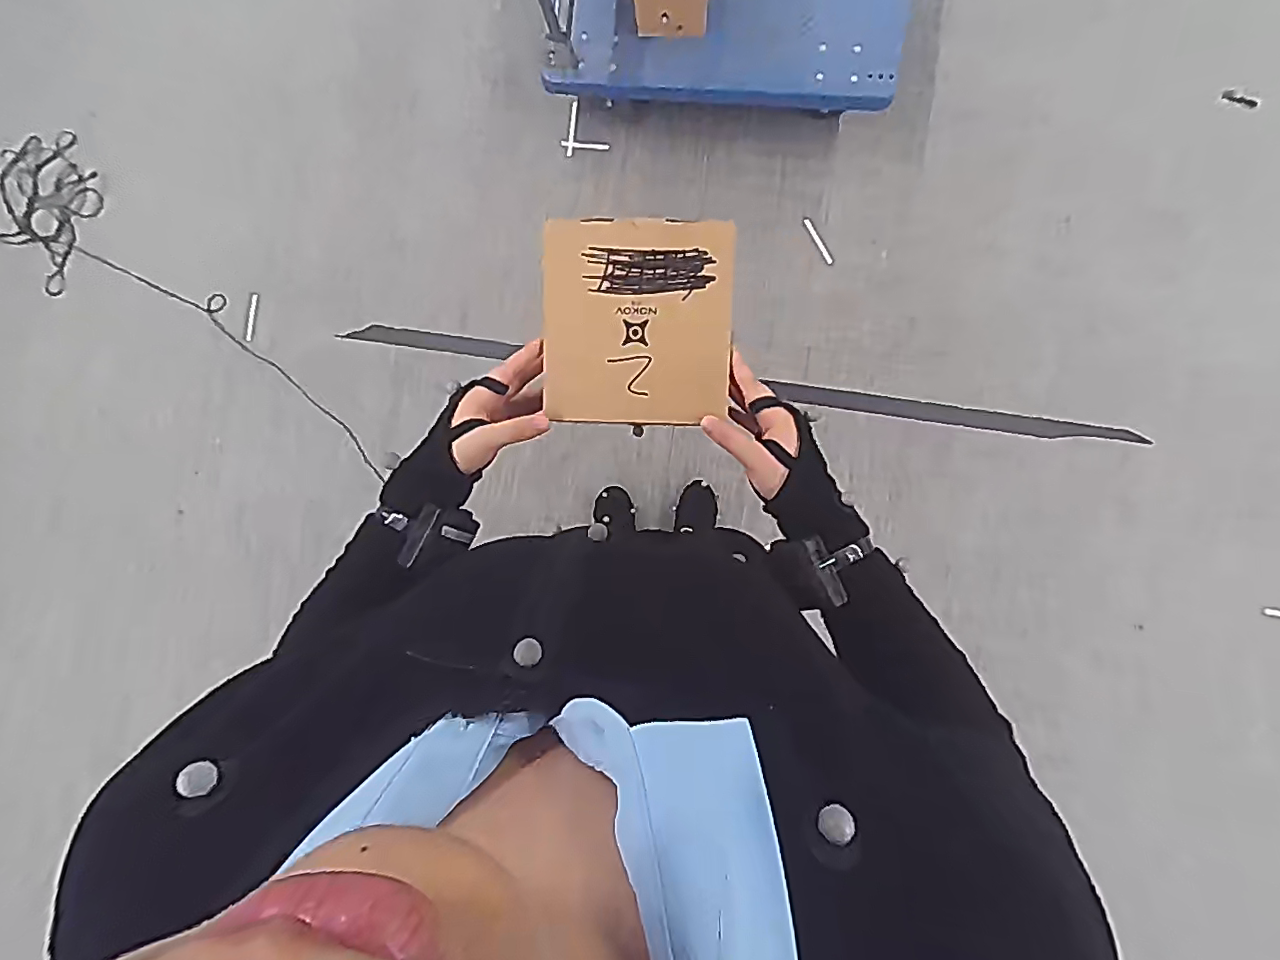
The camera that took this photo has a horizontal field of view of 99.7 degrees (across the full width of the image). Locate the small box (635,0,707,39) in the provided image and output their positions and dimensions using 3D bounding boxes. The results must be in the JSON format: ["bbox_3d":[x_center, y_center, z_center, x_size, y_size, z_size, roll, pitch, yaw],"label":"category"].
[{"bbox_3d":[0.074,-1.160,1.230,0.168,0.176,0.179,3,91,4],"label":"small box"}]
